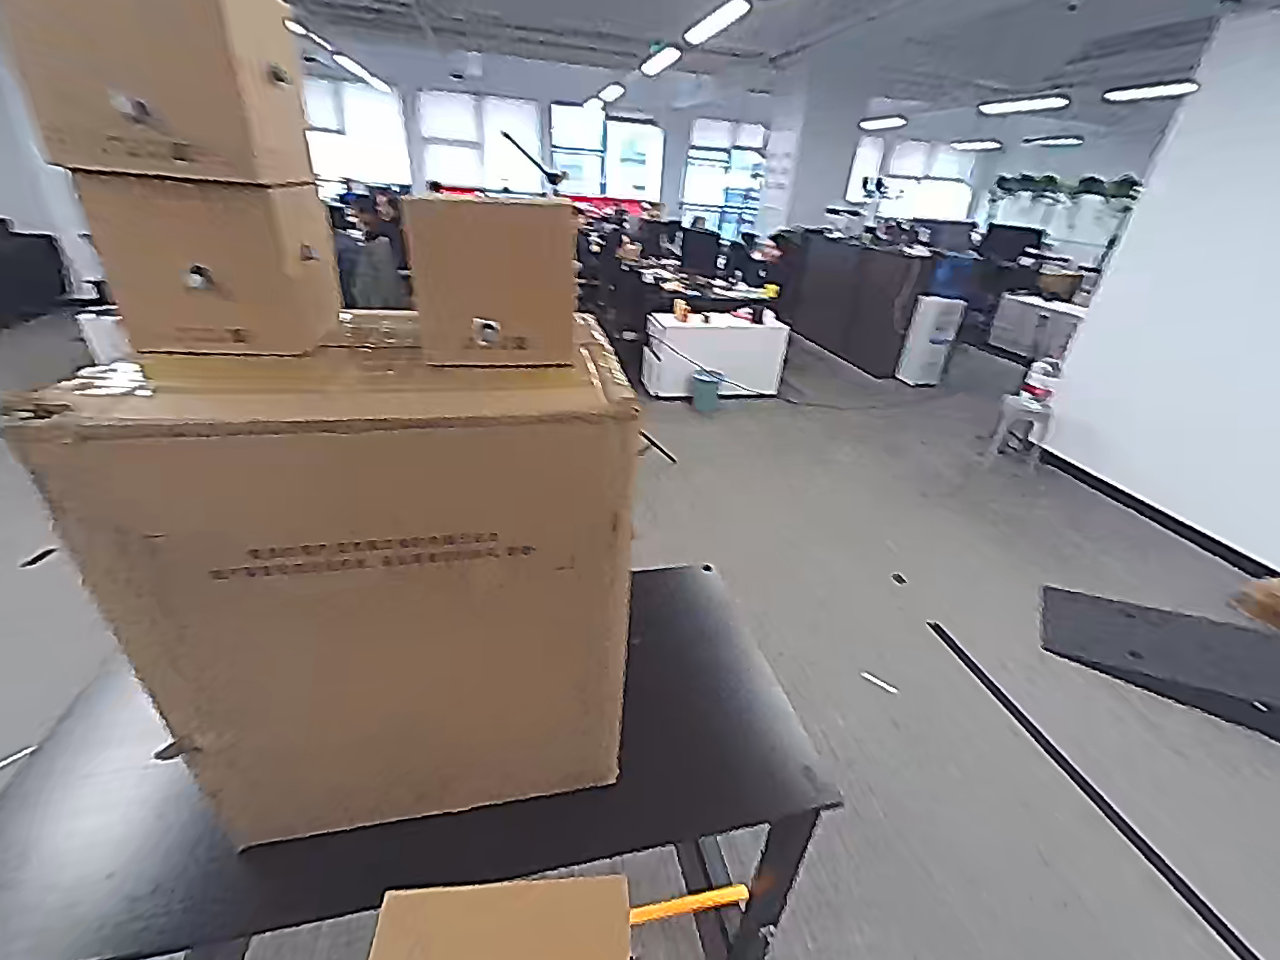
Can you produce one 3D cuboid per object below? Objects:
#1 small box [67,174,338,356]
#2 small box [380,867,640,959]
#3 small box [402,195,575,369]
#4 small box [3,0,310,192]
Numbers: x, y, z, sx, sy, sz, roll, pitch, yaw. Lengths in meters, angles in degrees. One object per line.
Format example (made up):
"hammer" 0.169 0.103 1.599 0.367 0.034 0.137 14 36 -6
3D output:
"small box" -0.460 -0.244 0.611 0.168 0.176 0.179 -2 30 -14
"small box" -0.082 0.389 0.363 0.168 0.176 0.179 -2 41 -2
"small box" -0.166 -0.237 0.639 0.168 0.176 0.179 -4 30 -10
"small box" -0.441 -0.381 0.519 0.168 0.176 0.179 -2 30 -13
